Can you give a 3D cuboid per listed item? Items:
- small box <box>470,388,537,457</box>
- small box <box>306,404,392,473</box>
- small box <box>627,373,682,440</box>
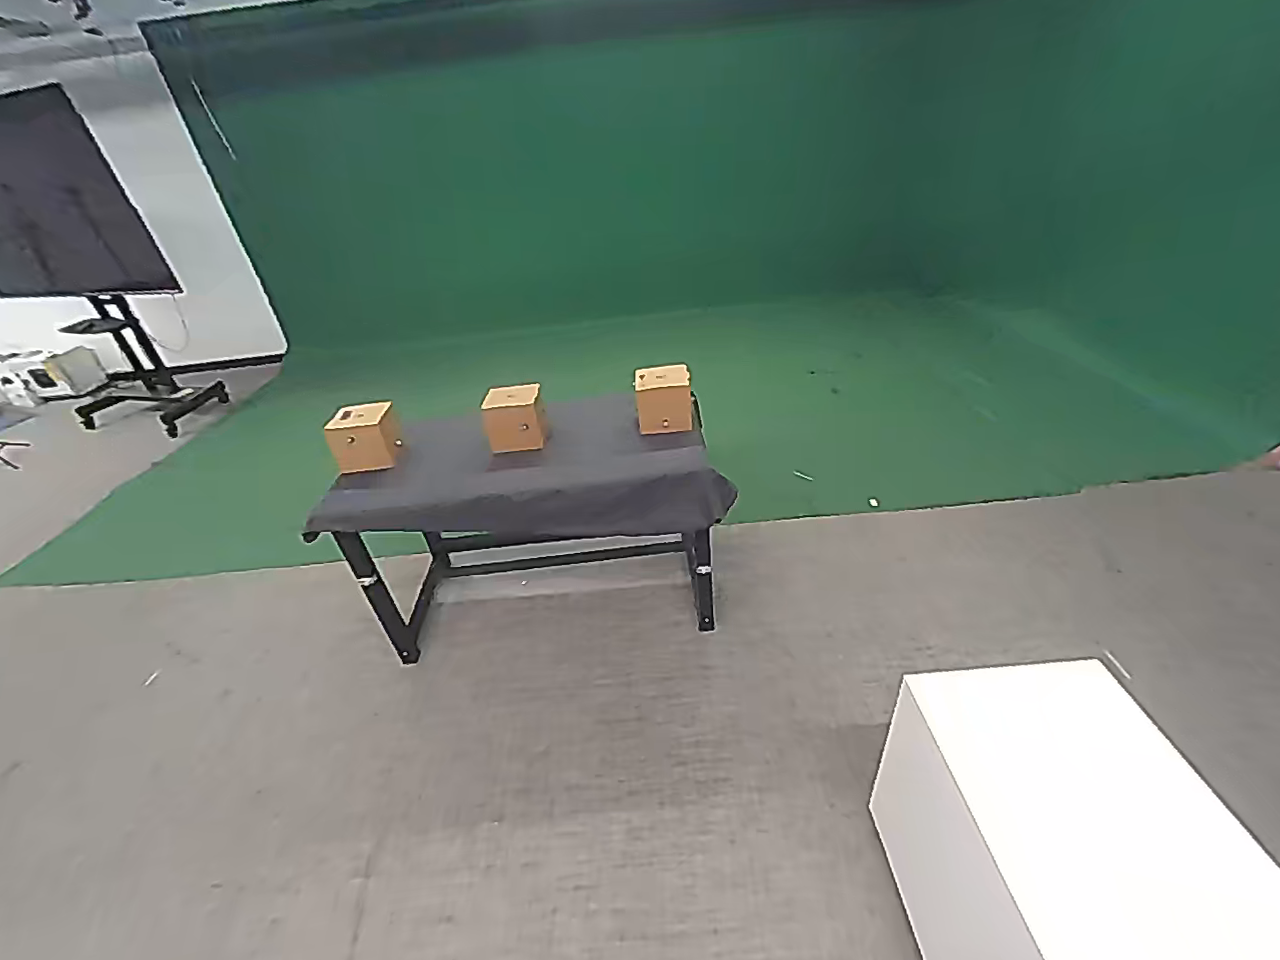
[{"bbox_3d":[-0.447,-0.192,1.805,0.179,0.176,0.168,-6,31,0],"label":"small box"},{"bbox_3d":[-0.947,-0.135,1.774,0.179,0.176,0.168,-6,33,-4],"label":"small box"},{"bbox_3d":[0.049,-0.247,1.819,0.179,0.176,0.168,-4,33,1],"label":"small box"}]
